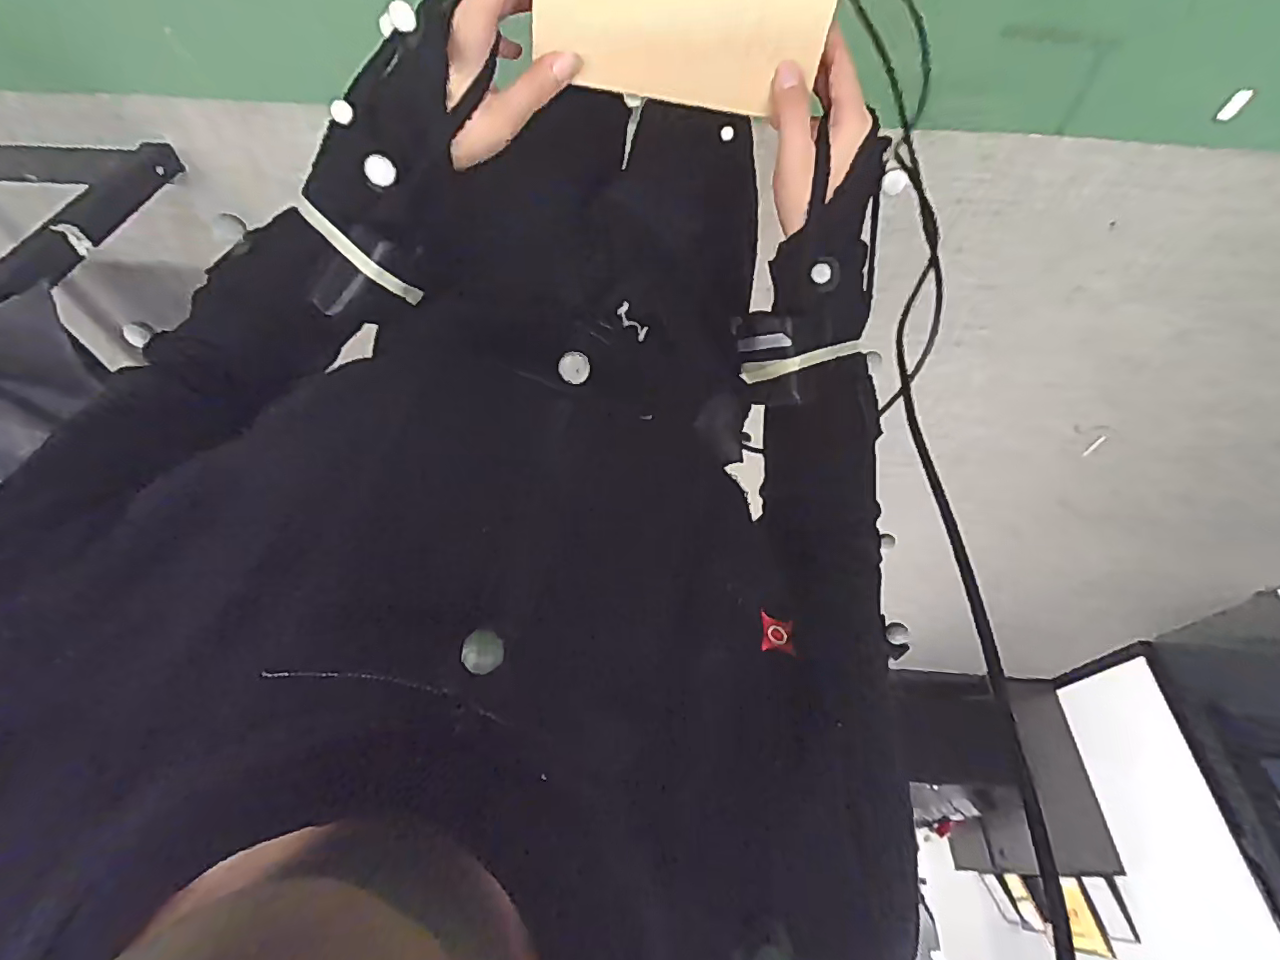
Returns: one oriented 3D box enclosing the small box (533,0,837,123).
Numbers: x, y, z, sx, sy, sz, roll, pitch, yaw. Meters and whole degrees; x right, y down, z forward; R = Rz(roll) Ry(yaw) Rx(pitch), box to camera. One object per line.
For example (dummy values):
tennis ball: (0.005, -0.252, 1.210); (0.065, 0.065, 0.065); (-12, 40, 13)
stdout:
small box: (0.033, -0.344, 0.324); (0.168, 0.176, 0.179); (6, 131, -5)
